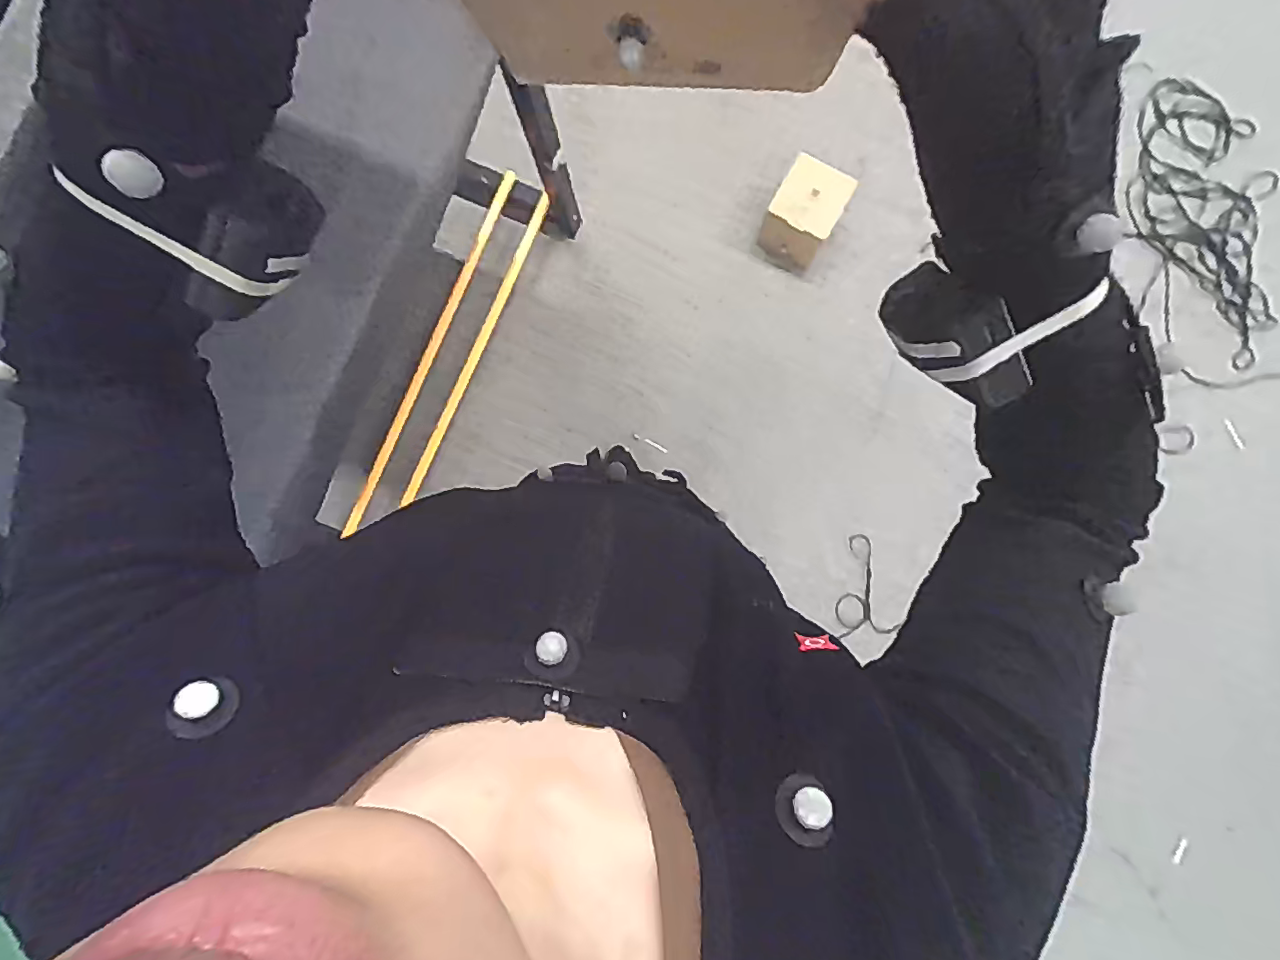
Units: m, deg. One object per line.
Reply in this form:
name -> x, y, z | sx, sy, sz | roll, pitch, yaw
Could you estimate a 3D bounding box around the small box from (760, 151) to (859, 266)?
small box -> 0.433, -0.705, 1.419 | 0.168, 0.176, 0.179 | 30, 90, 4
